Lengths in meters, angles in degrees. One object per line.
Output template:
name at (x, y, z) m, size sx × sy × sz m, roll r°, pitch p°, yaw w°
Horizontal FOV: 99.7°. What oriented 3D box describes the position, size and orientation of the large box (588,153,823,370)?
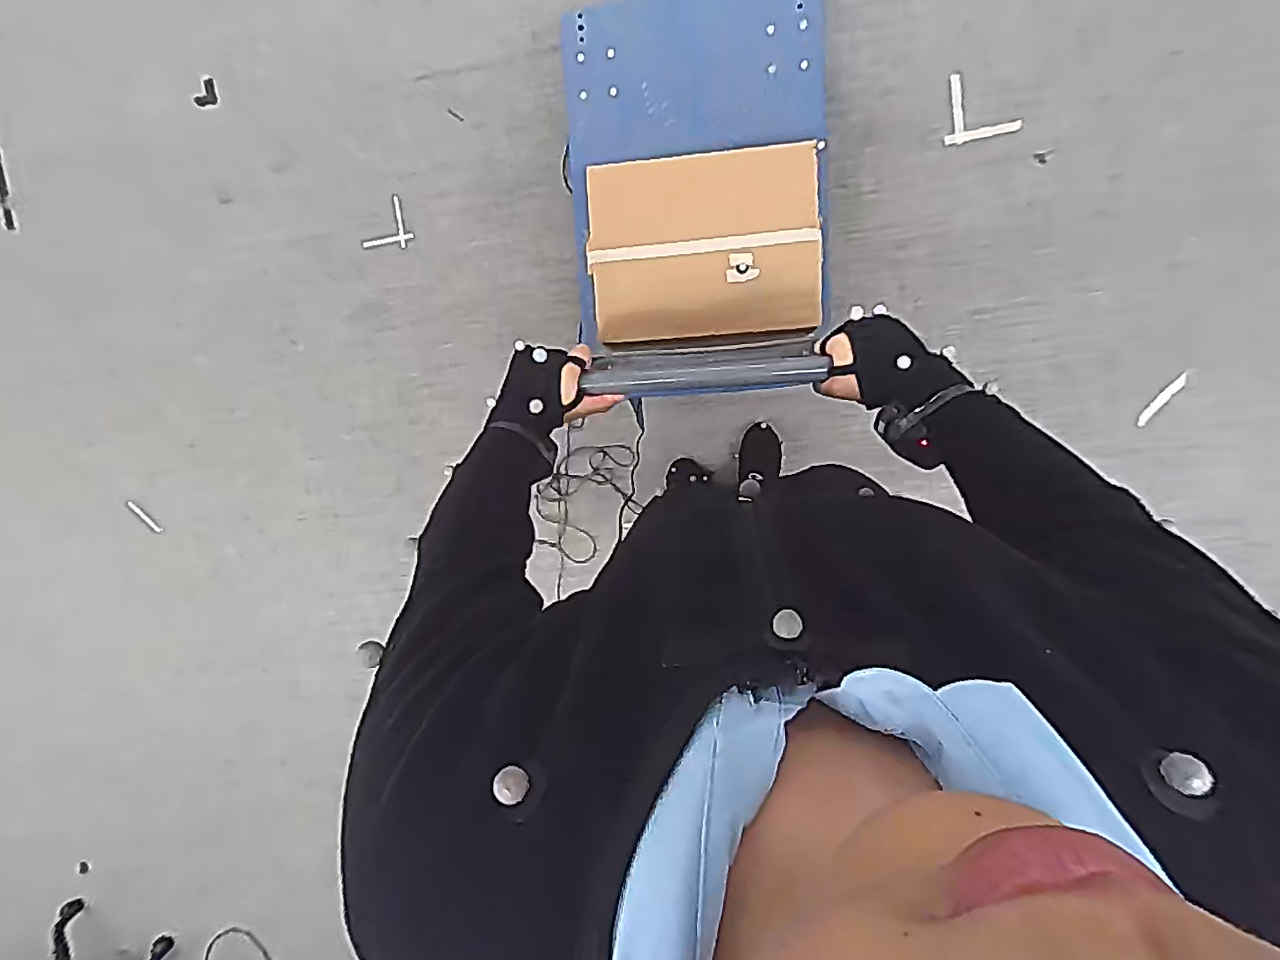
large box at (0.126, -0.408, 1.101) m, size 0.408 × 0.320 × 0.320 m, roll -3°, pitch 97°, yaw 5°
